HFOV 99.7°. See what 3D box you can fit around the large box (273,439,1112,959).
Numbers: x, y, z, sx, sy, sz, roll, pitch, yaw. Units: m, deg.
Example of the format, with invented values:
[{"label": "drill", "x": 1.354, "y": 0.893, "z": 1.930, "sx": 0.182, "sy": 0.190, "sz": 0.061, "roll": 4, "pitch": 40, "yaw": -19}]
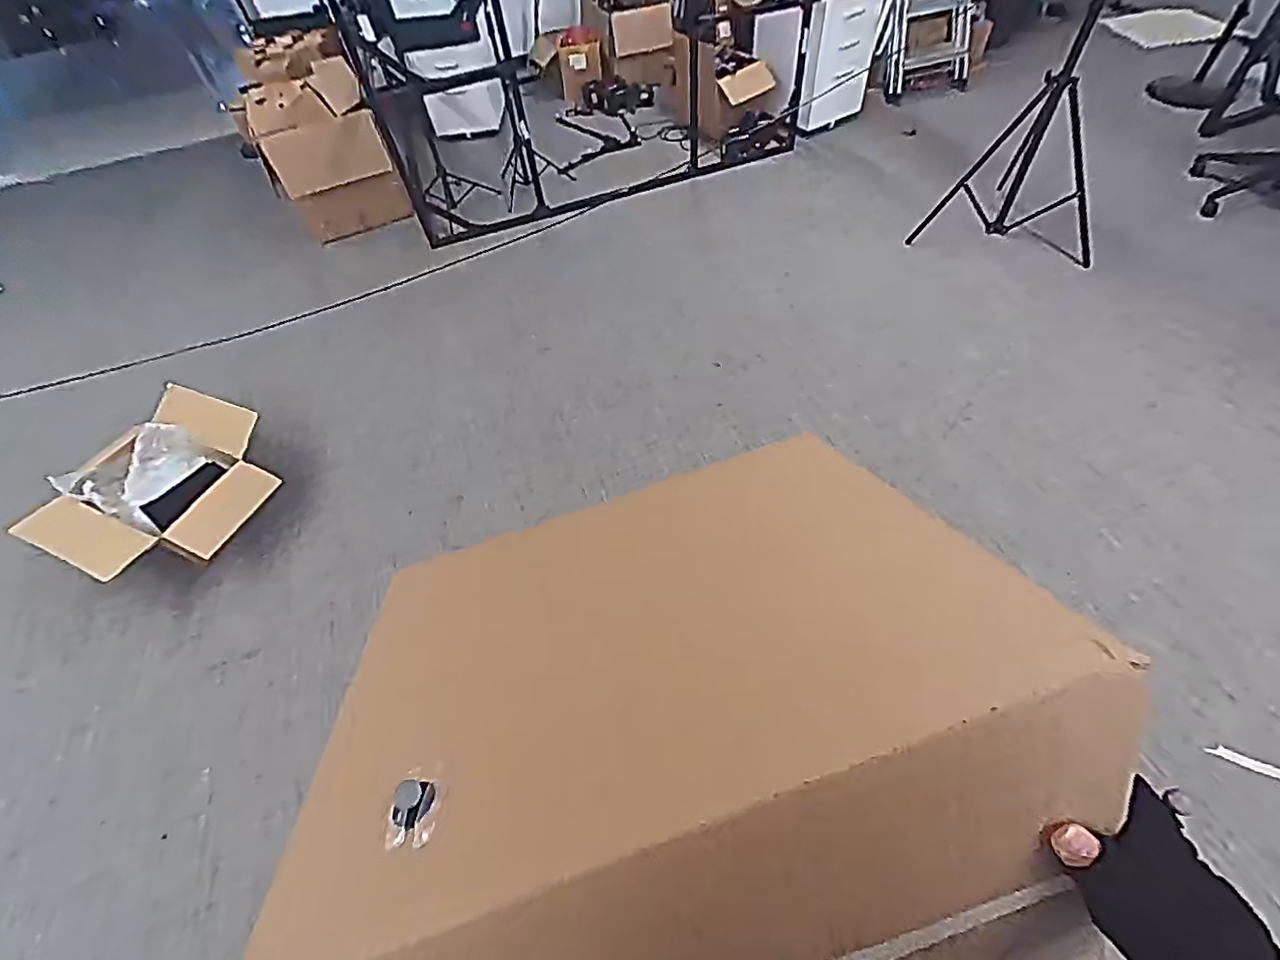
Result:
[{"label": "large box", "x": 0.041, "y": 0.209, "z": 0.432, "sx": 0.408, "sy": 0.320, "sz": 0.320, "roll": -19, "pitch": 26, "yaw": -3}]
